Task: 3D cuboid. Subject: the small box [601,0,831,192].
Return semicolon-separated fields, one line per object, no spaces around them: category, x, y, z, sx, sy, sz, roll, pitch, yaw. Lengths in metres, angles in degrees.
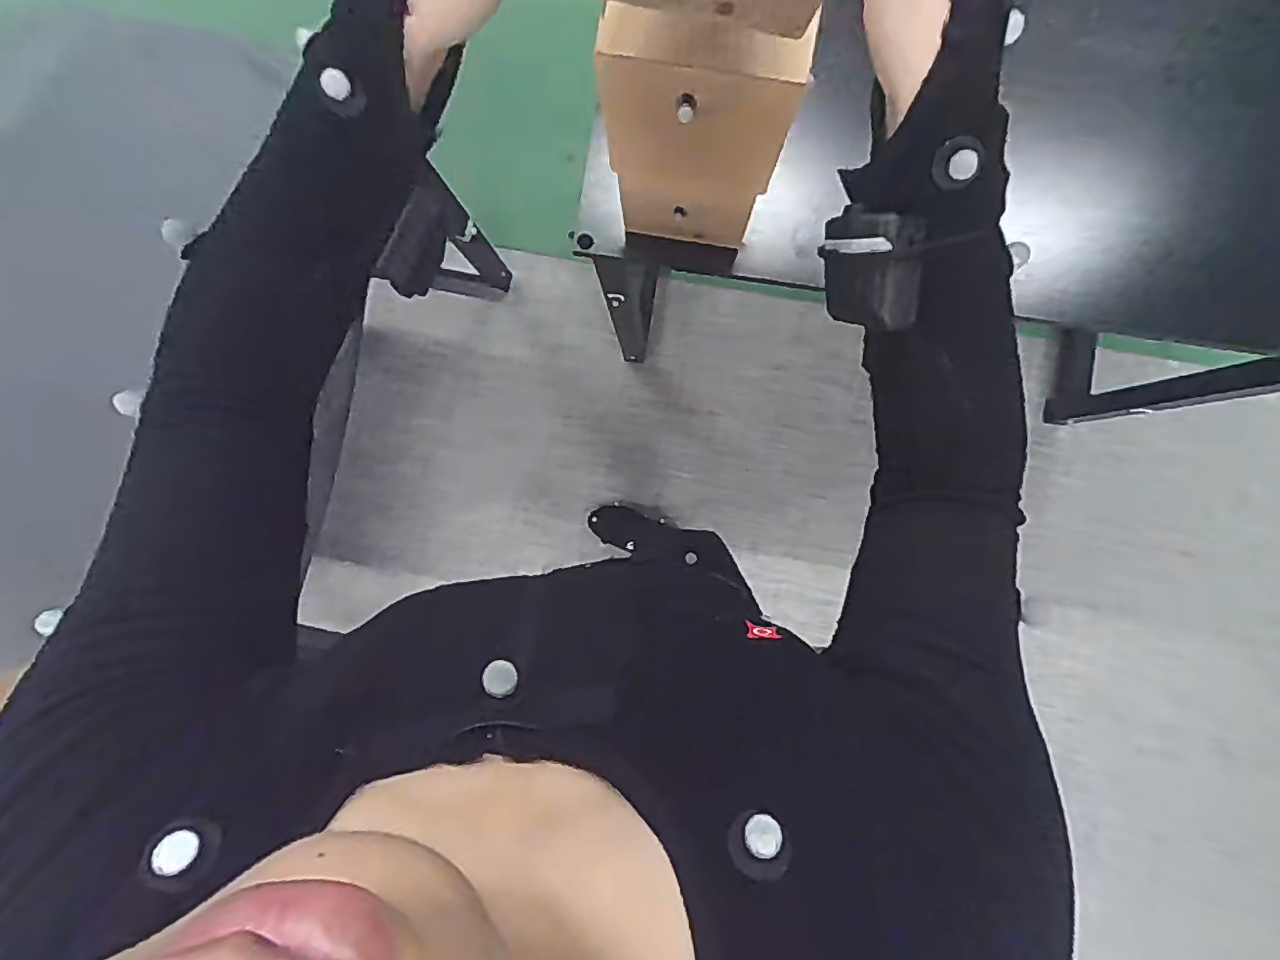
small box;0.070;-0.401;0.510;0.179;0.176;0.168;10;90;3

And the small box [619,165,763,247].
small box;0.074;-0.416;0.673;0.168;0.176;0.179;10;90;2
